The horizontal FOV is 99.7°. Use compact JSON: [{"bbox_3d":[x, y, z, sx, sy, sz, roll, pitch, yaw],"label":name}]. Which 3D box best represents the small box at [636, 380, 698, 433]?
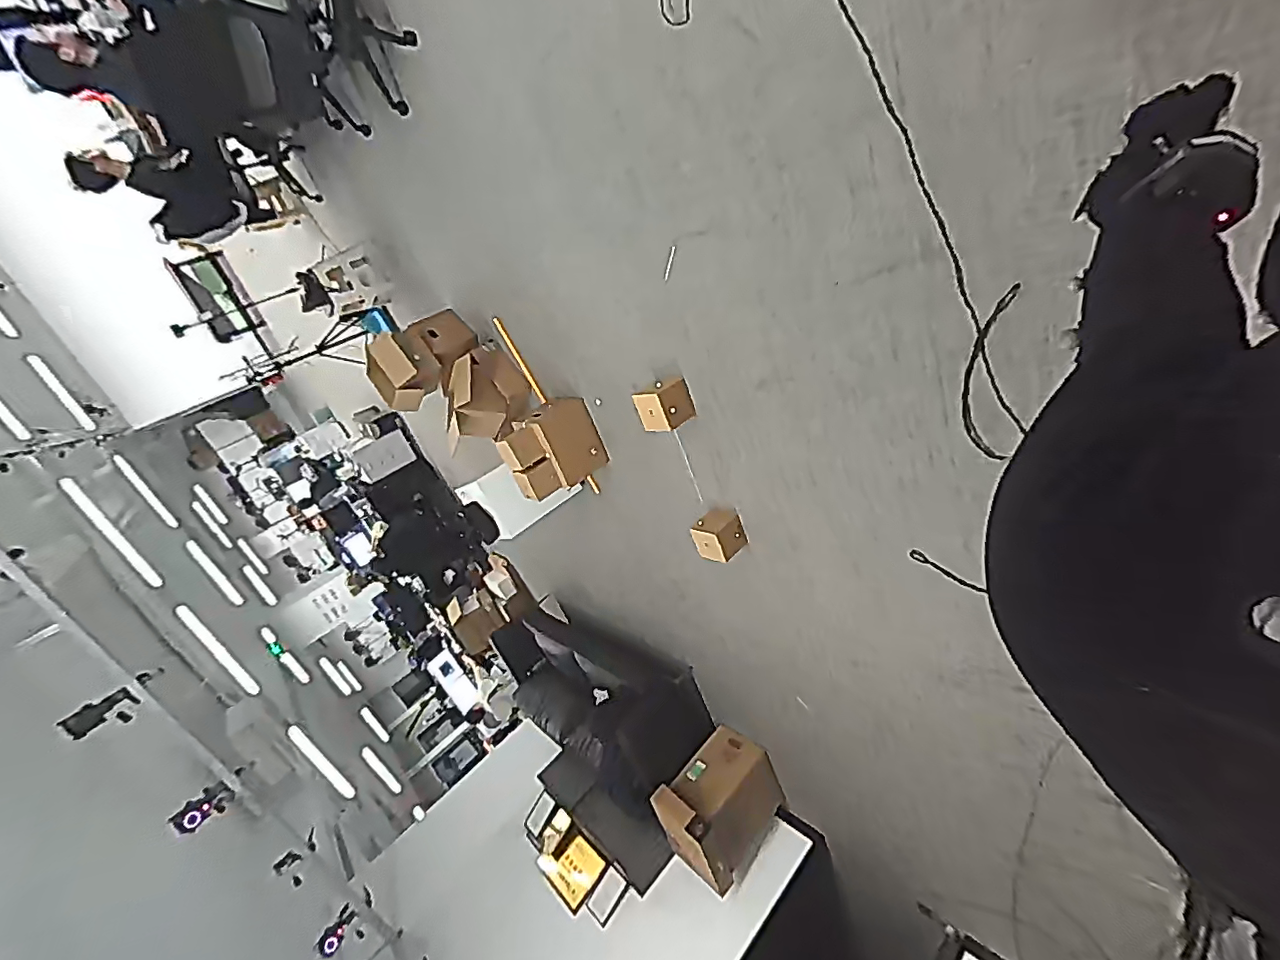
[{"bbox_3d":[0.117,-0.317,2.299,0.168,0.176,0.179,7,128,51],"label":"small box"}]

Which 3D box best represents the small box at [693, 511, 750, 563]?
[{"bbox_3d":[0.385,0.264,2.546,0.179,0.176,0.168,7,128,52],"label":"small box"}]
